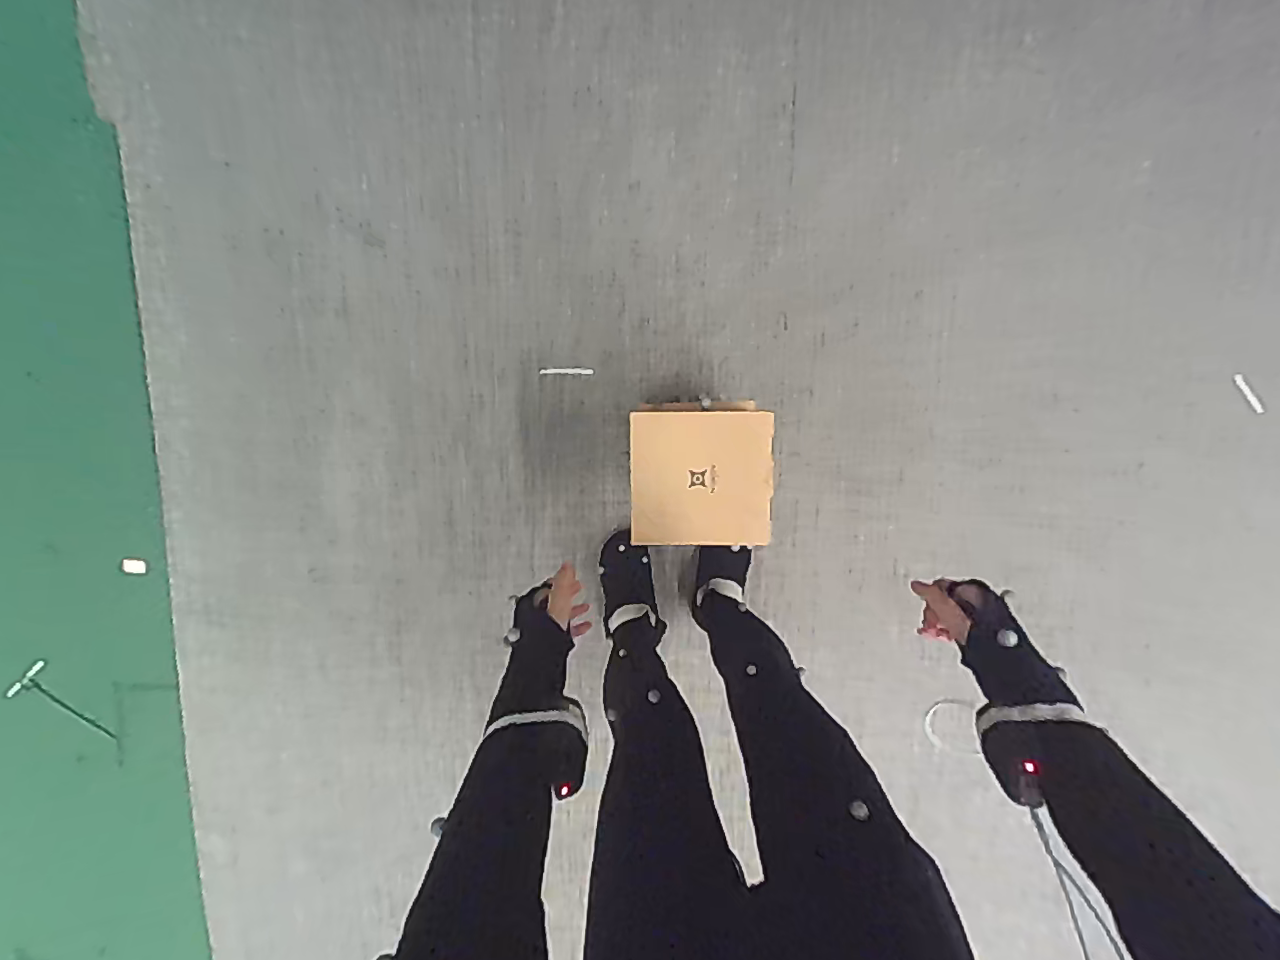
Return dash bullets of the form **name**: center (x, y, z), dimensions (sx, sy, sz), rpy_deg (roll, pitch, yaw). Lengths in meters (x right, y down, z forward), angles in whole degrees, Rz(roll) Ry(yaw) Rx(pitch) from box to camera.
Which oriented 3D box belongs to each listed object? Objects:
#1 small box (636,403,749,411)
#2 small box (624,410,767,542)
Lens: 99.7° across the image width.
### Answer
- **small box**: center (0.082, -0.045, 0.908), dimensions (0.179, 0.176, 0.168), rpy_deg (-2, 97, 2)
- **small box**: center (0.070, -0.013, 0.748), dimensions (0.179, 0.176, 0.168), rpy_deg (-1, 97, 0)
